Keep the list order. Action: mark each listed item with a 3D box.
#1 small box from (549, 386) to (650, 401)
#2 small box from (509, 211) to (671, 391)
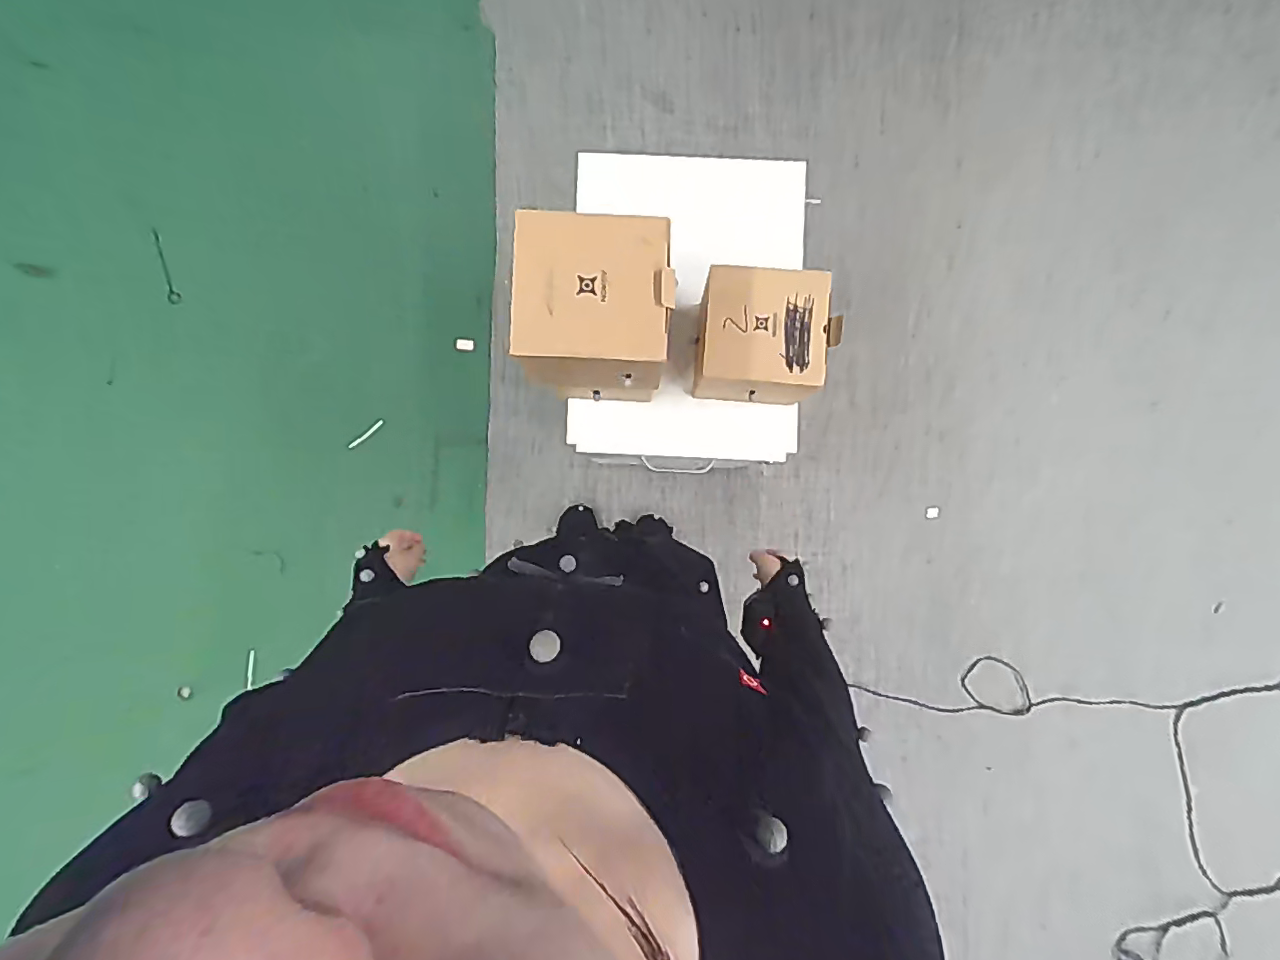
[{"bbox_3d":[-0.060,-0.222,0.841,0.168,0.176,0.179,3,89,-2],"label":"small box"},{"bbox_3d":[-0.057,-0.211,0.679,0.179,0.176,0.168,2,88,-1],"label":"small box"}]
